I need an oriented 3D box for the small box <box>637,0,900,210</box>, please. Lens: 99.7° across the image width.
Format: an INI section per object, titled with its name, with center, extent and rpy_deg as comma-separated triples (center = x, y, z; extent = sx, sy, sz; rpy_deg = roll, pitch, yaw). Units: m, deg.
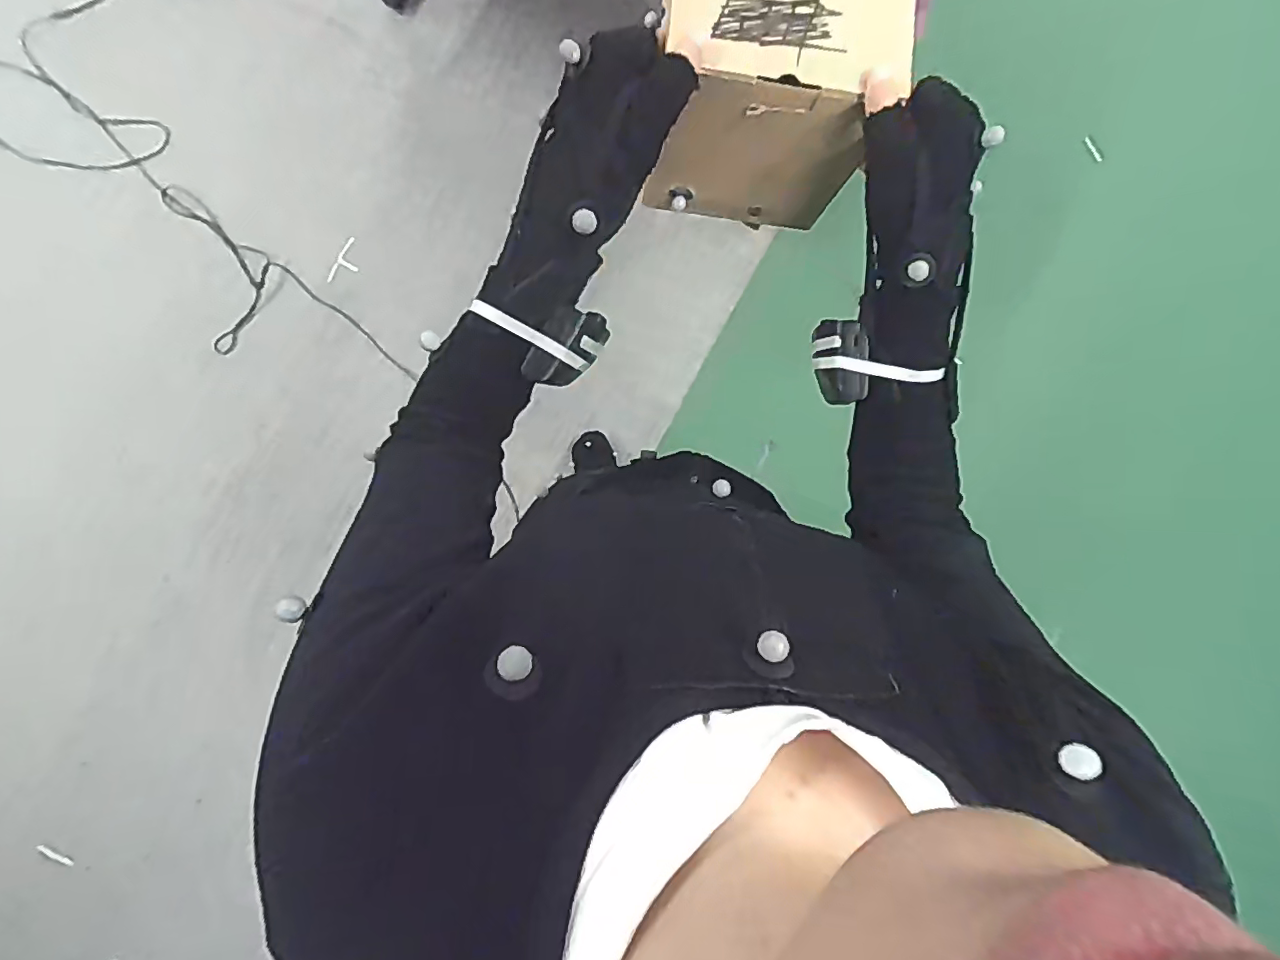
[small box]
center = 0.089, -0.350, 0.437
extent = 0.168, 0.176, 0.179
rpy_deg = 5, 86, -5
